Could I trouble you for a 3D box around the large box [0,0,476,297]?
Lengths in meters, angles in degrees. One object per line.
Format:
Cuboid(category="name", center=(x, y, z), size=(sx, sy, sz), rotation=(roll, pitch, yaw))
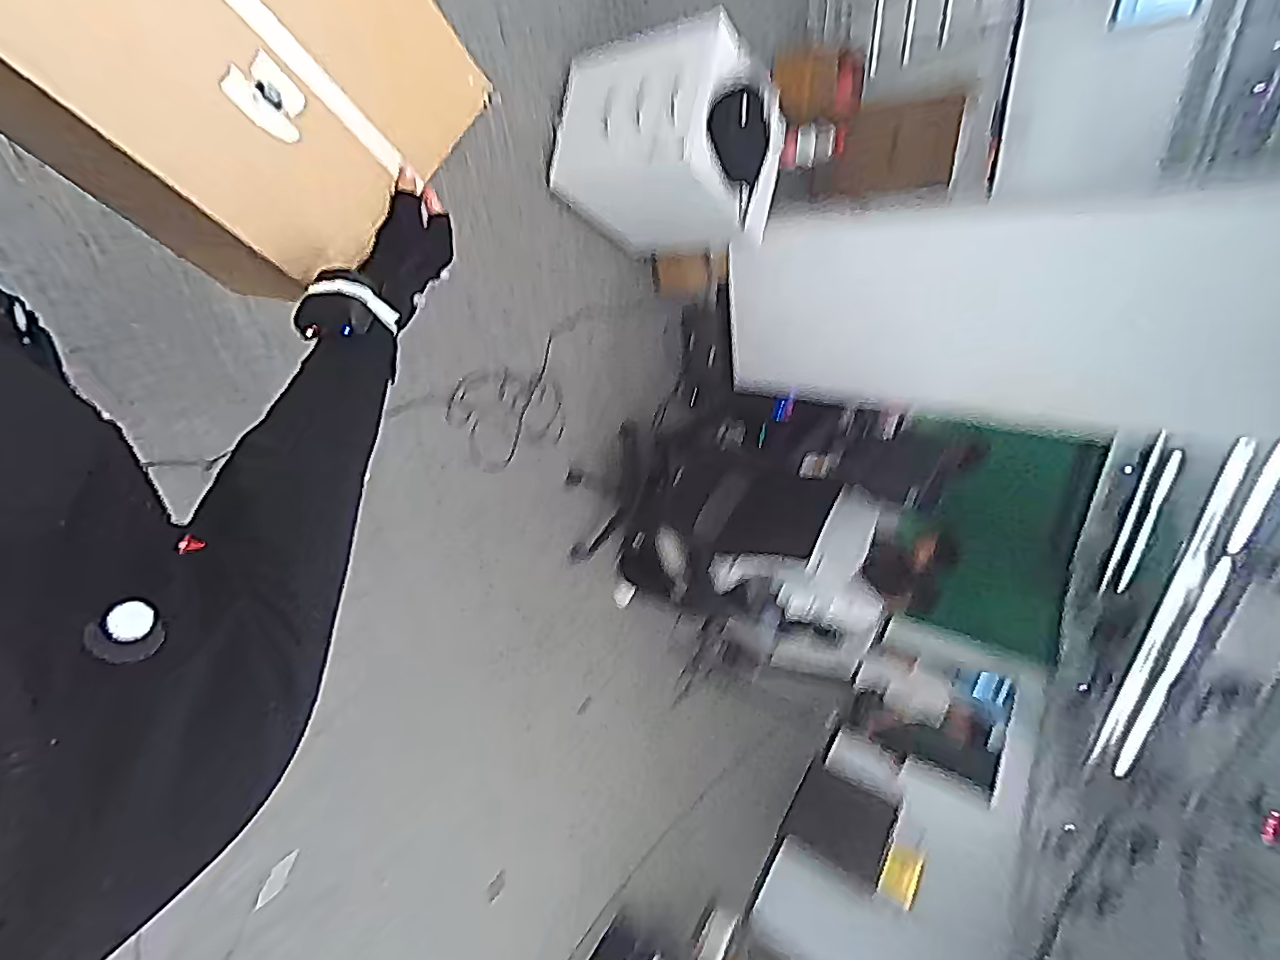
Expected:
Cuboid(category="large box", center=(-0.457, -0.433, 0.515), size=(0.408, 0.320, 0.320), rotation=(41, 73, -51))
